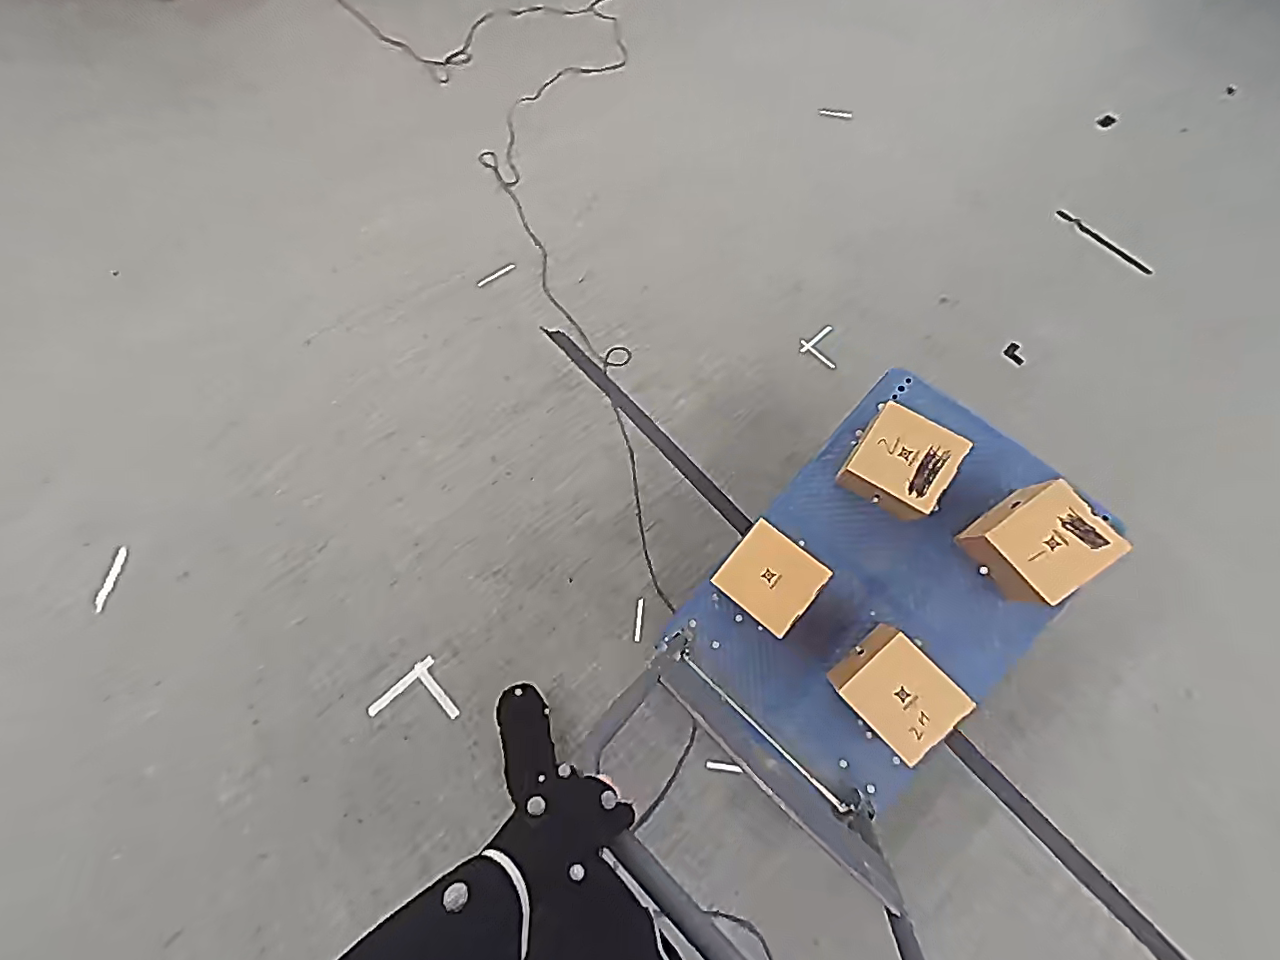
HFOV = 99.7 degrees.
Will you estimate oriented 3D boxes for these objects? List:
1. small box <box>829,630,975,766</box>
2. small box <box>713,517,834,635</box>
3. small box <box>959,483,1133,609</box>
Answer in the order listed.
[{"bbox_3d":[0.497,0.411,1.059,0.168,0.176,0.179,-44,76,2],"label":"small box"},{"bbox_3d":[0.273,0.201,1.139,0.179,0.176,0.168,39,90,13],"label":"small box"},{"bbox_3d":[0.771,0.129,1.052,0.179,0.176,0.168,-38,76,4],"label":"small box"}]
